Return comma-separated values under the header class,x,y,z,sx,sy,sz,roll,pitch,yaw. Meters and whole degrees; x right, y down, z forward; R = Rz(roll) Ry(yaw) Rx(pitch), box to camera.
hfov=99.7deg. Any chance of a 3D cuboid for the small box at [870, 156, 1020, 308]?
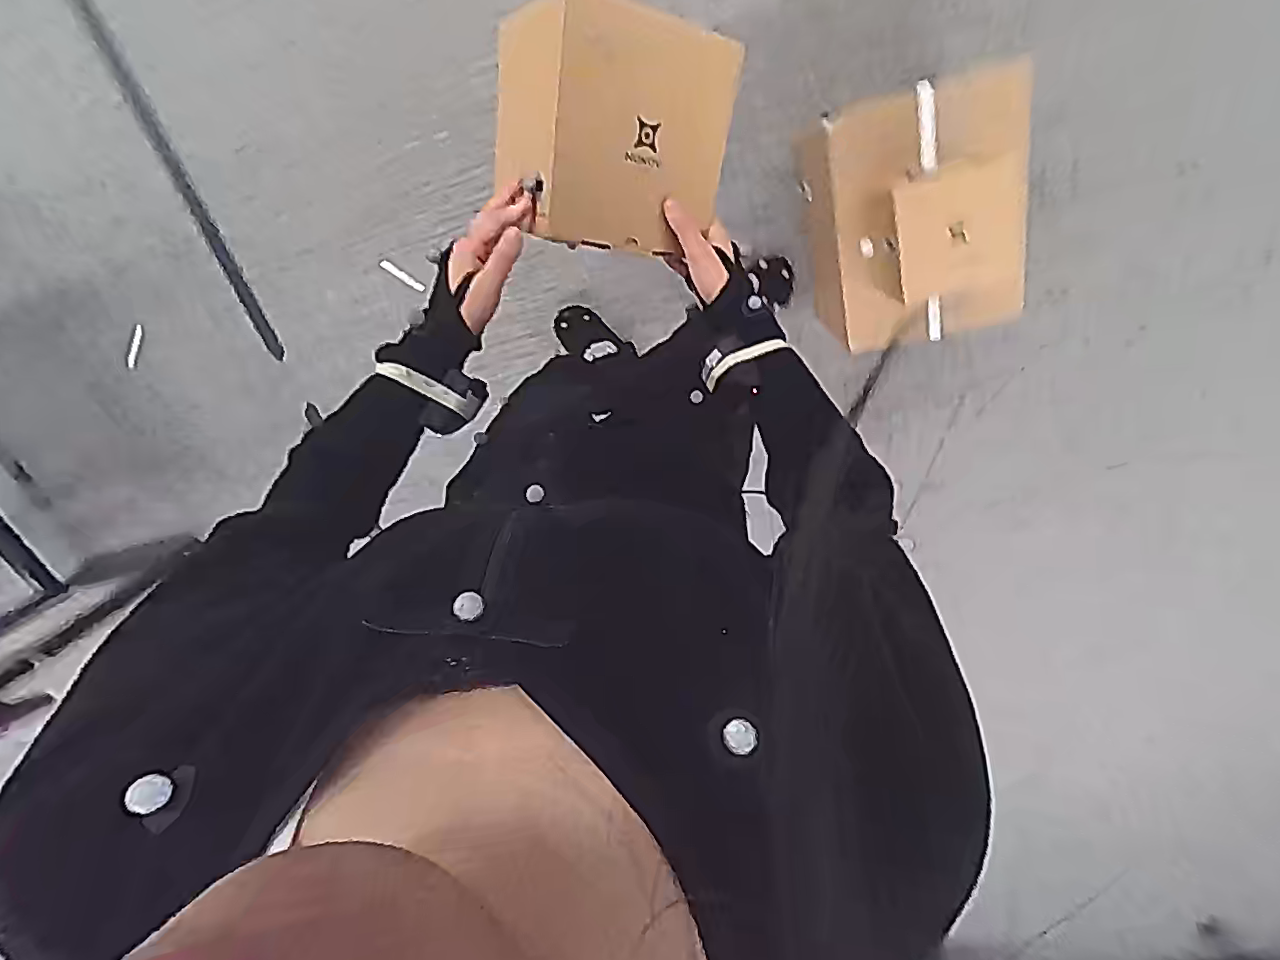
class,x,y,z,sx,sy,sz,roll,pitch,yaw
small box,0.484,-0.397,0.876,0.168,0.176,0.179,-12,115,14
